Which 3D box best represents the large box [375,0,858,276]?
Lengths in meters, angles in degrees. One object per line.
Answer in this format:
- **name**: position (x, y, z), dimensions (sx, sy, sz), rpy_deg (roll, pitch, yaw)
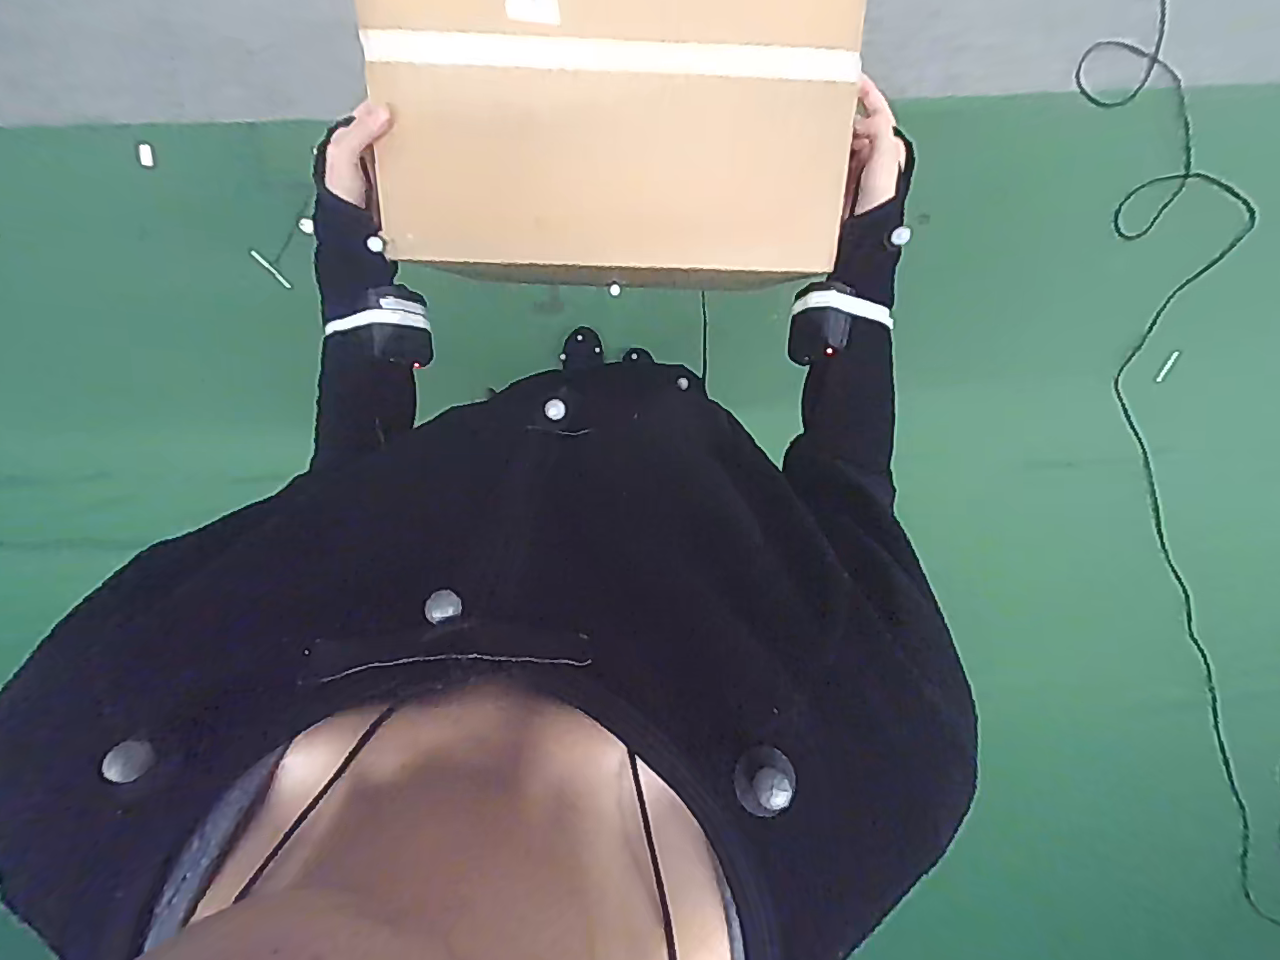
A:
- **large box**: position (-0.021, -0.396, 0.597), dimensions (0.408, 0.320, 0.320), rpy_deg (1, 106, -2)
